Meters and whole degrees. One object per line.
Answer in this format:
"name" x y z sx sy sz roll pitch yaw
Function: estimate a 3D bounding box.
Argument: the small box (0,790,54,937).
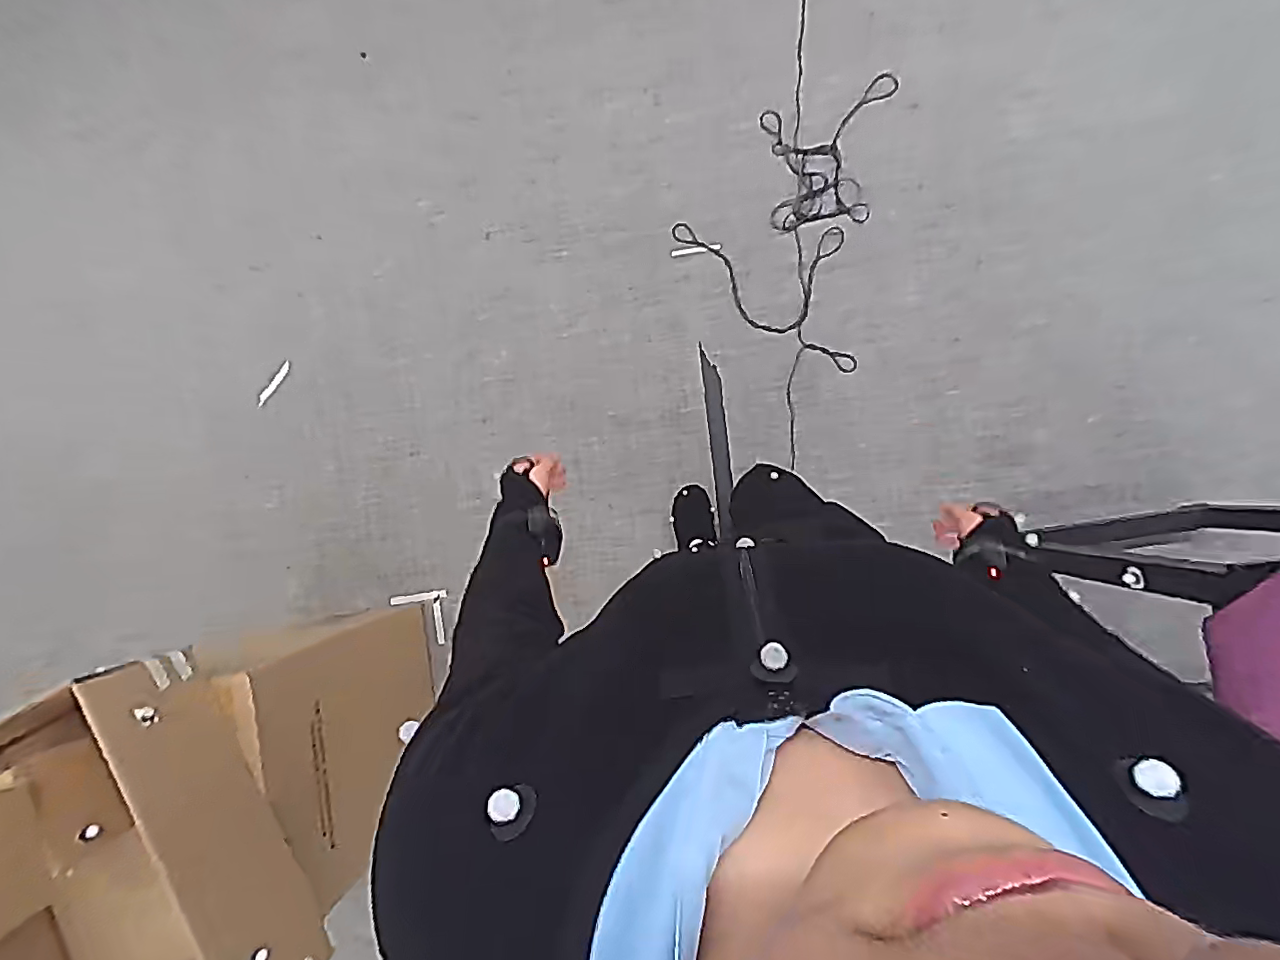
"small box" -0.916 0.522 0.681 0.168 0.176 0.179 -15 89 4
